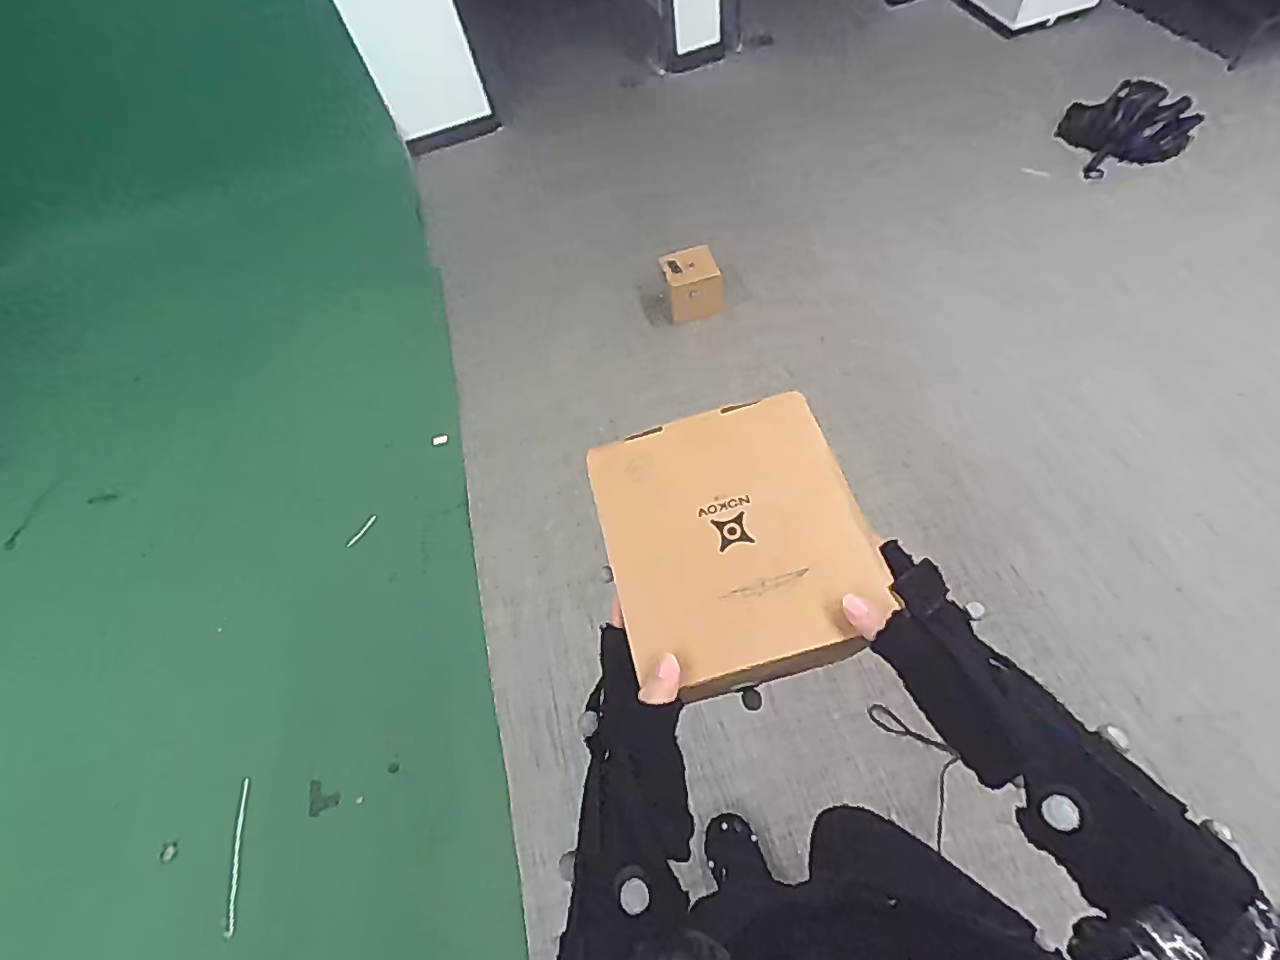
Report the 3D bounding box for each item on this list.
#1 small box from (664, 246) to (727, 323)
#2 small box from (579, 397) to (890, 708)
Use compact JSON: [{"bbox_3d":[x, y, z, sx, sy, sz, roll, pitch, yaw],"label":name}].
[{"bbox_3d":[0.197,-0.674,1.883,0.179,0.176,0.168,-16,59,1],"label":"small box"},{"bbox_3d":[0.061,0.067,0.427,0.168,0.176,0.179,-15,64,1],"label":"small box"}]
